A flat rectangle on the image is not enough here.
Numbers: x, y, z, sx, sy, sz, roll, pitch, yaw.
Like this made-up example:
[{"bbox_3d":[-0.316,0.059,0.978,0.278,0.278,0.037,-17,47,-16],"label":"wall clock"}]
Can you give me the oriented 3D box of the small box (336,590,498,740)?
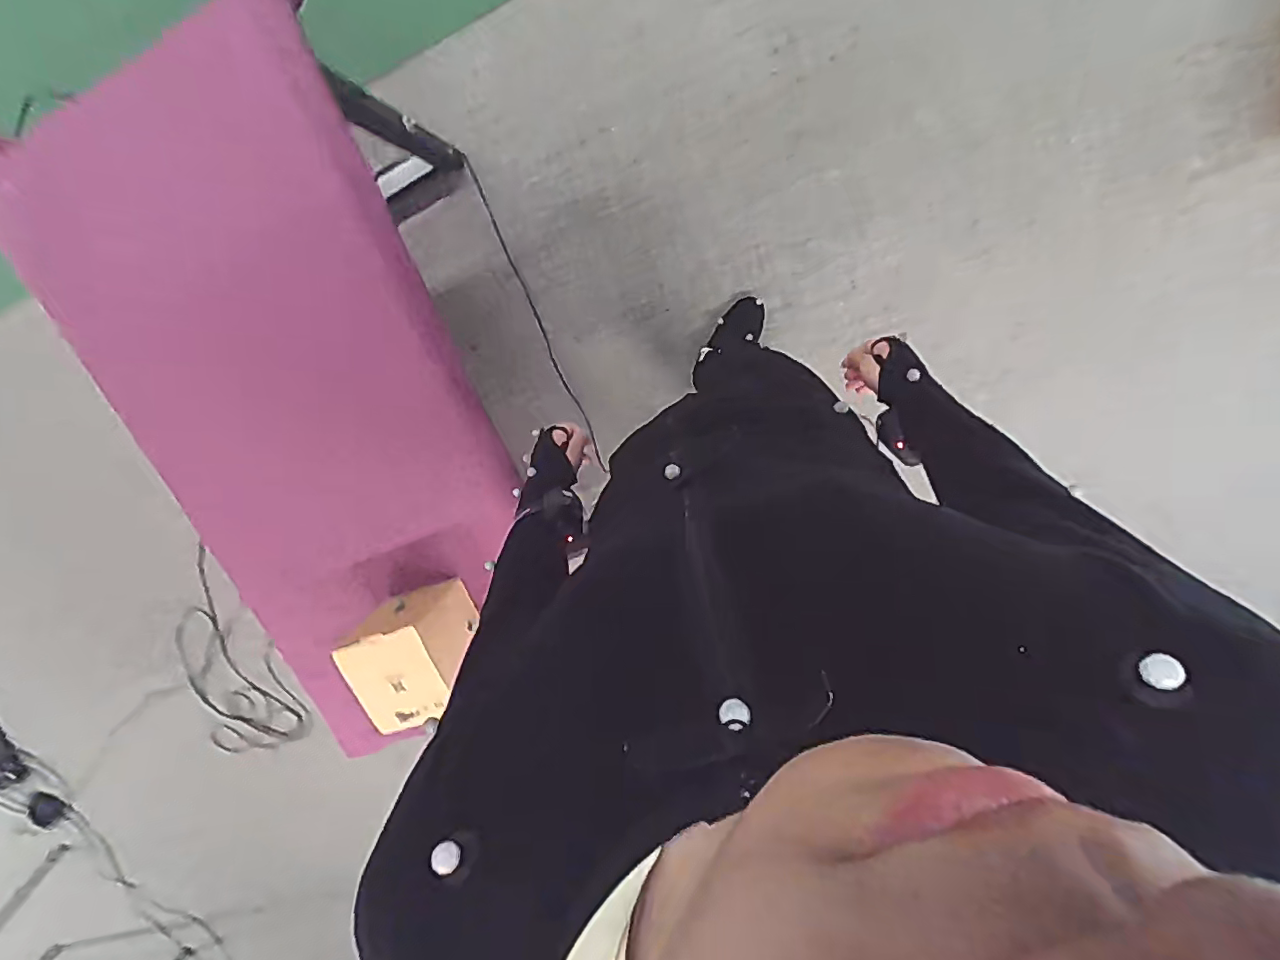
[{"bbox_3d":[-0.379,0.313,0.951,0.168,0.176,0.179,-19,104,12],"label":"small box"}]
